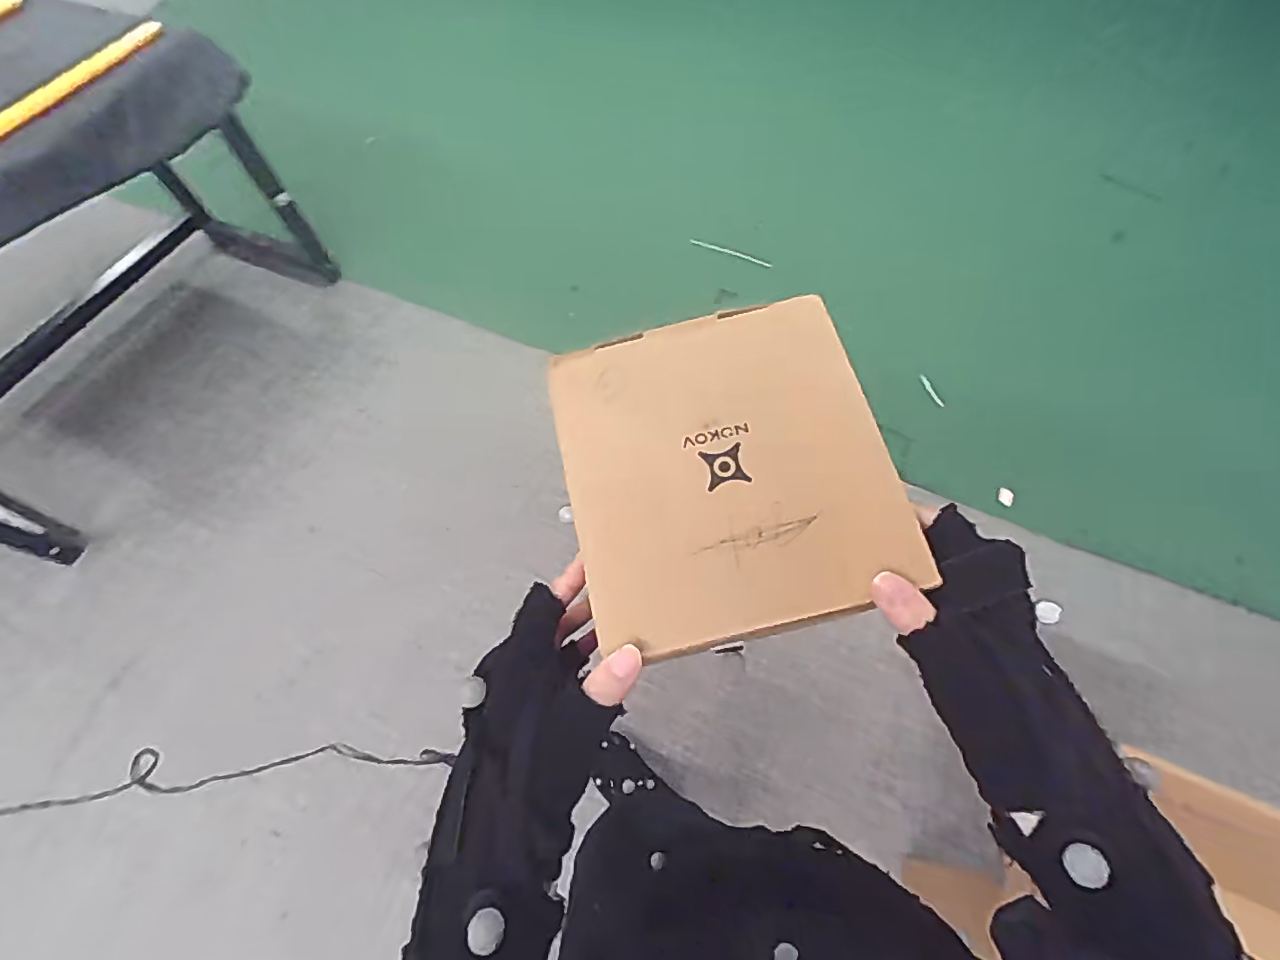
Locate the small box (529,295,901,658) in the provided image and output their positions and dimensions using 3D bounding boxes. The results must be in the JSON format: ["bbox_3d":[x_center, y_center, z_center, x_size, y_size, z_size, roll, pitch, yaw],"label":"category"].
[{"bbox_3d":[0.036,0.013,0.367,0.168,0.176,0.179,-14,70,0],"label":"small box"}]
